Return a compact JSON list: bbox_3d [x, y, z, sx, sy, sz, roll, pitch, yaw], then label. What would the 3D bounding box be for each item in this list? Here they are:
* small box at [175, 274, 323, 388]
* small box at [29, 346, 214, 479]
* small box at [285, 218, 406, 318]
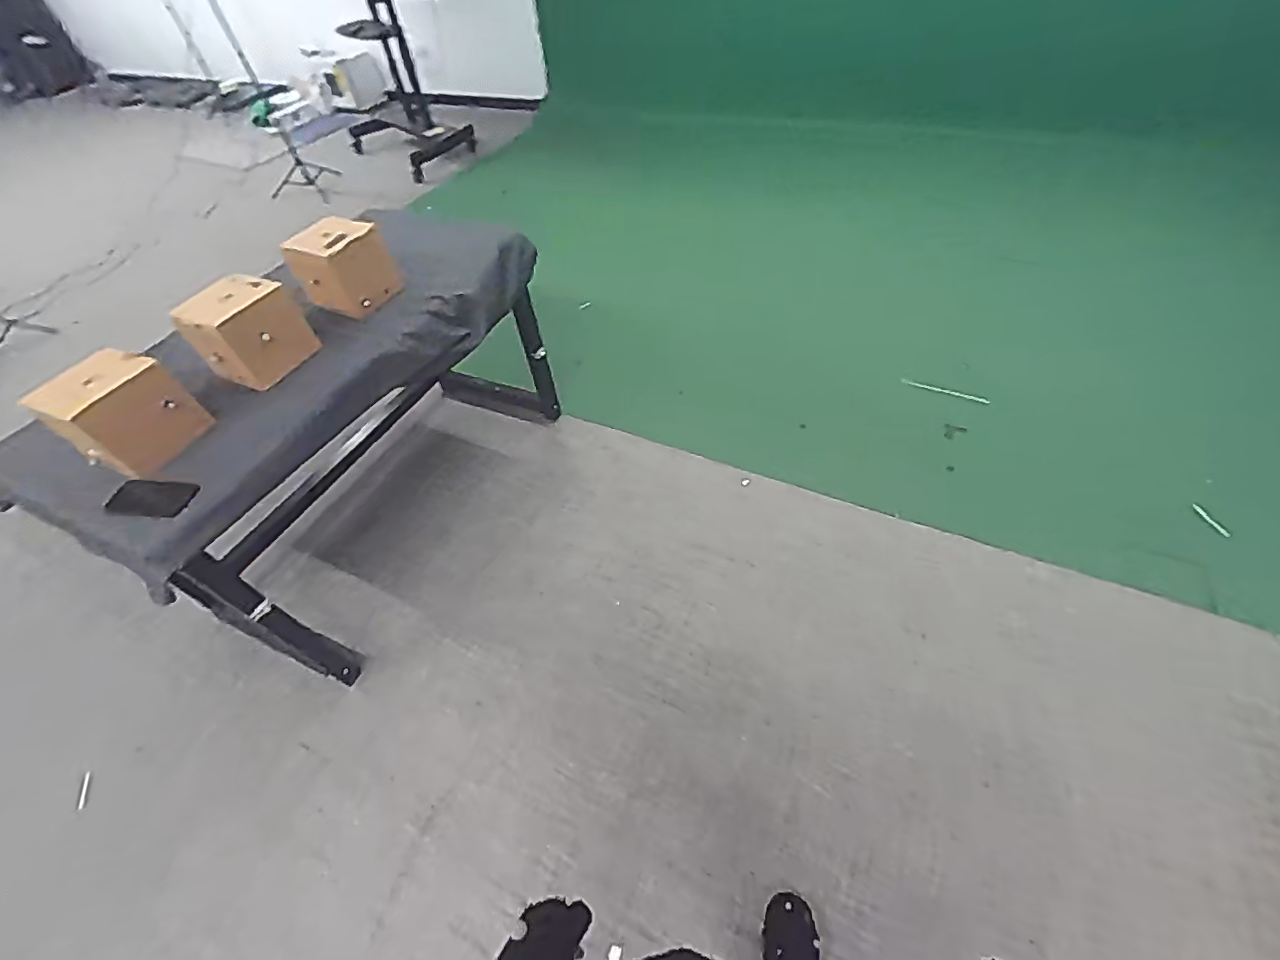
[{"bbox_3d":[-0.865,-0.333,1.218,0.168,0.176,0.179,17,55,19],"label":"small box"},{"bbox_3d":[-0.998,-0.133,1.065,0.168,0.176,0.179,15,54,19],"label":"small box"},{"bbox_3d":[-0.737,-0.536,1.373,0.179,0.176,0.168,19,54,21],"label":"small box"}]
